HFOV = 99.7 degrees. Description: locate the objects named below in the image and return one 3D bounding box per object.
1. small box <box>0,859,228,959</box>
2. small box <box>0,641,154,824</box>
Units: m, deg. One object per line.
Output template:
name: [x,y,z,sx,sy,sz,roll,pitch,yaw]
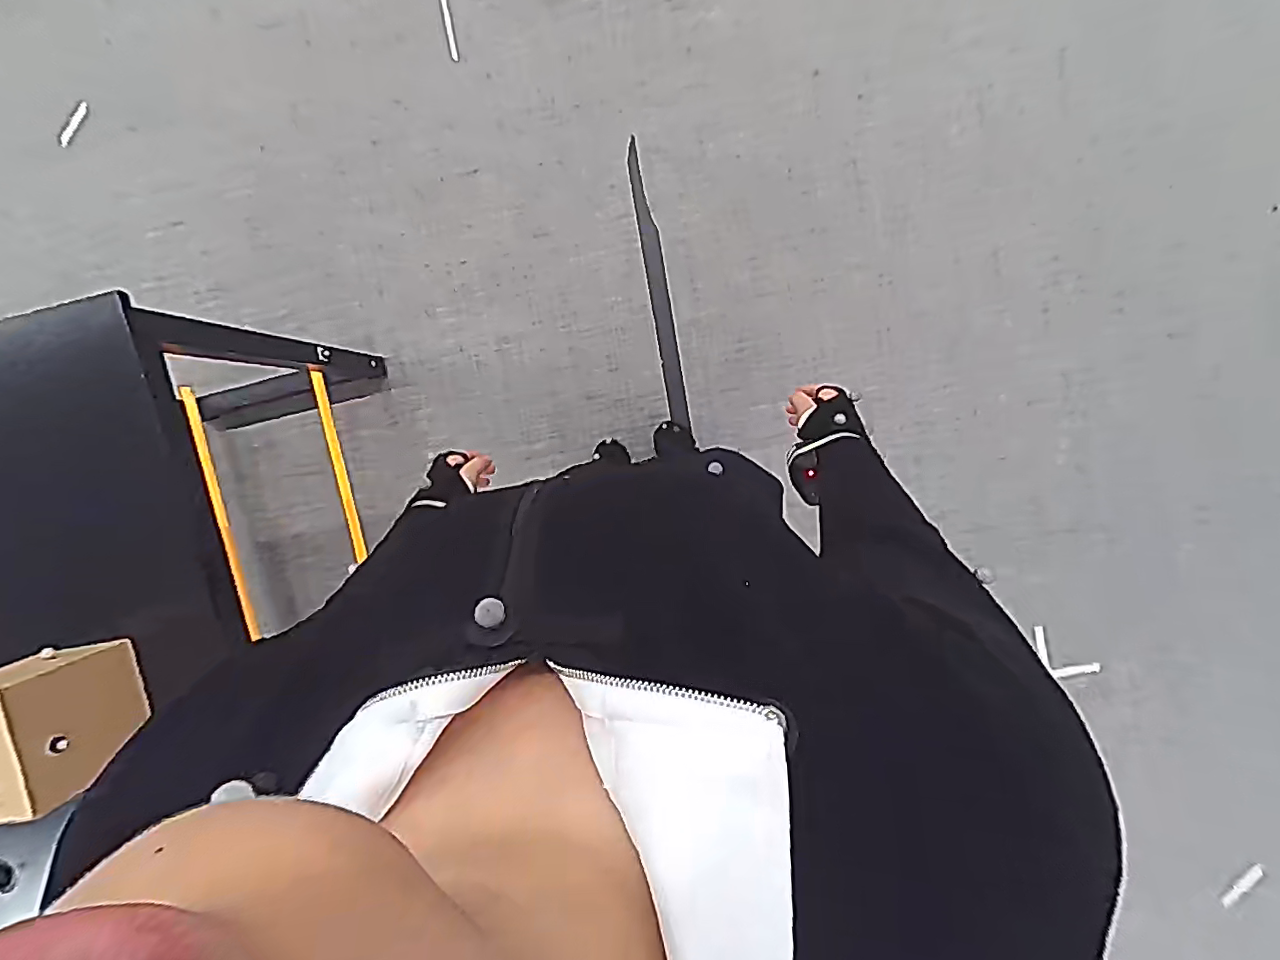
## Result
small box: [-0.772,0.705,0.803,0.179,0.176,0.168,-8,97,4]
small box: [-0.850,0.353,0.767,0.168,0.176,0.179,-10,95,5]
